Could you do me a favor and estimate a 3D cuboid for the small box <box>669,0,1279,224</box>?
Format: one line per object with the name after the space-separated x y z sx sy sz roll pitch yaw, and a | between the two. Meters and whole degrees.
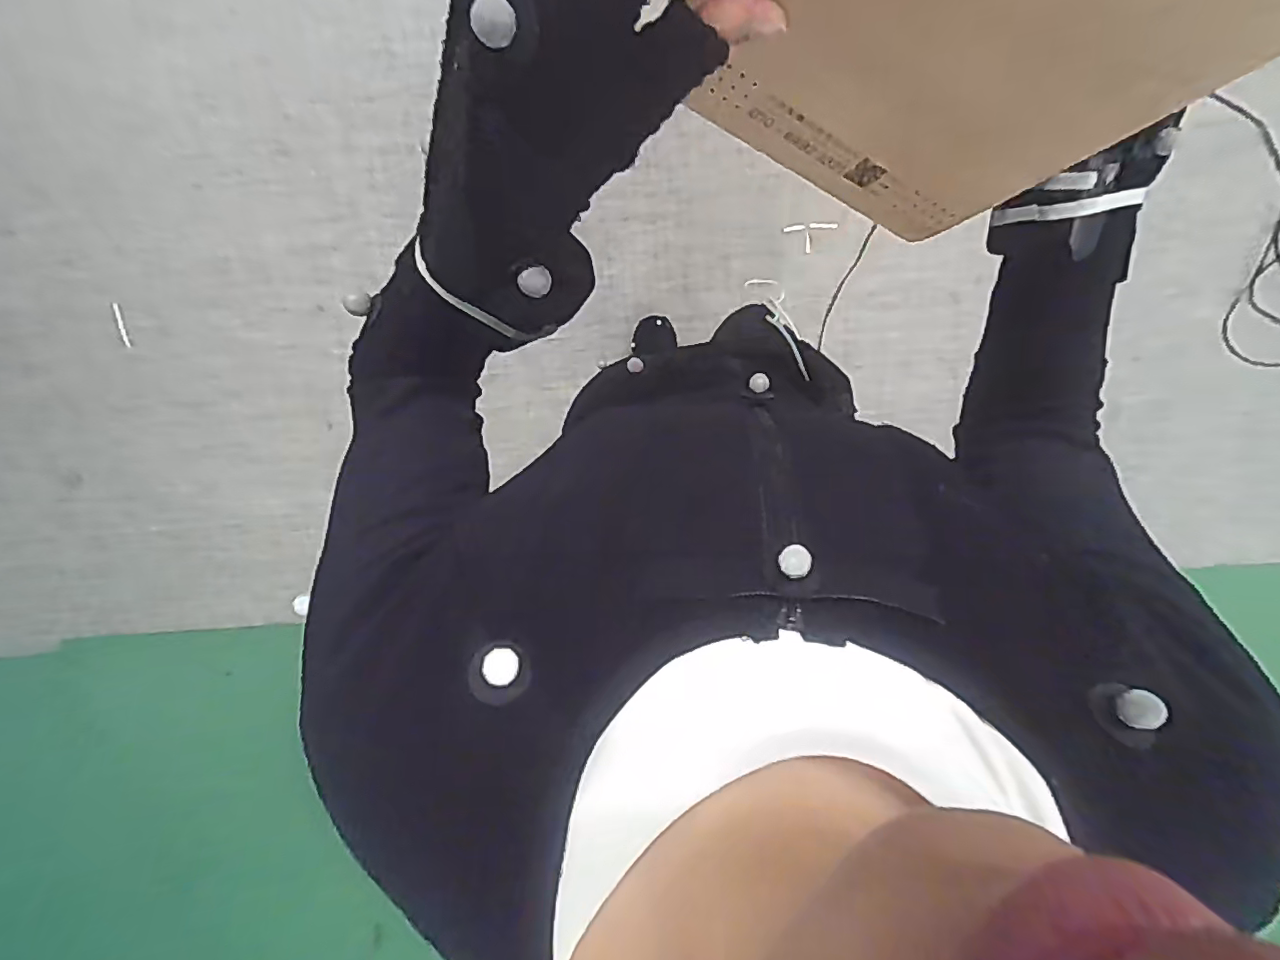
0.128 -0.245 0.211 0.168 0.176 0.179 16 79 -22 | small box
